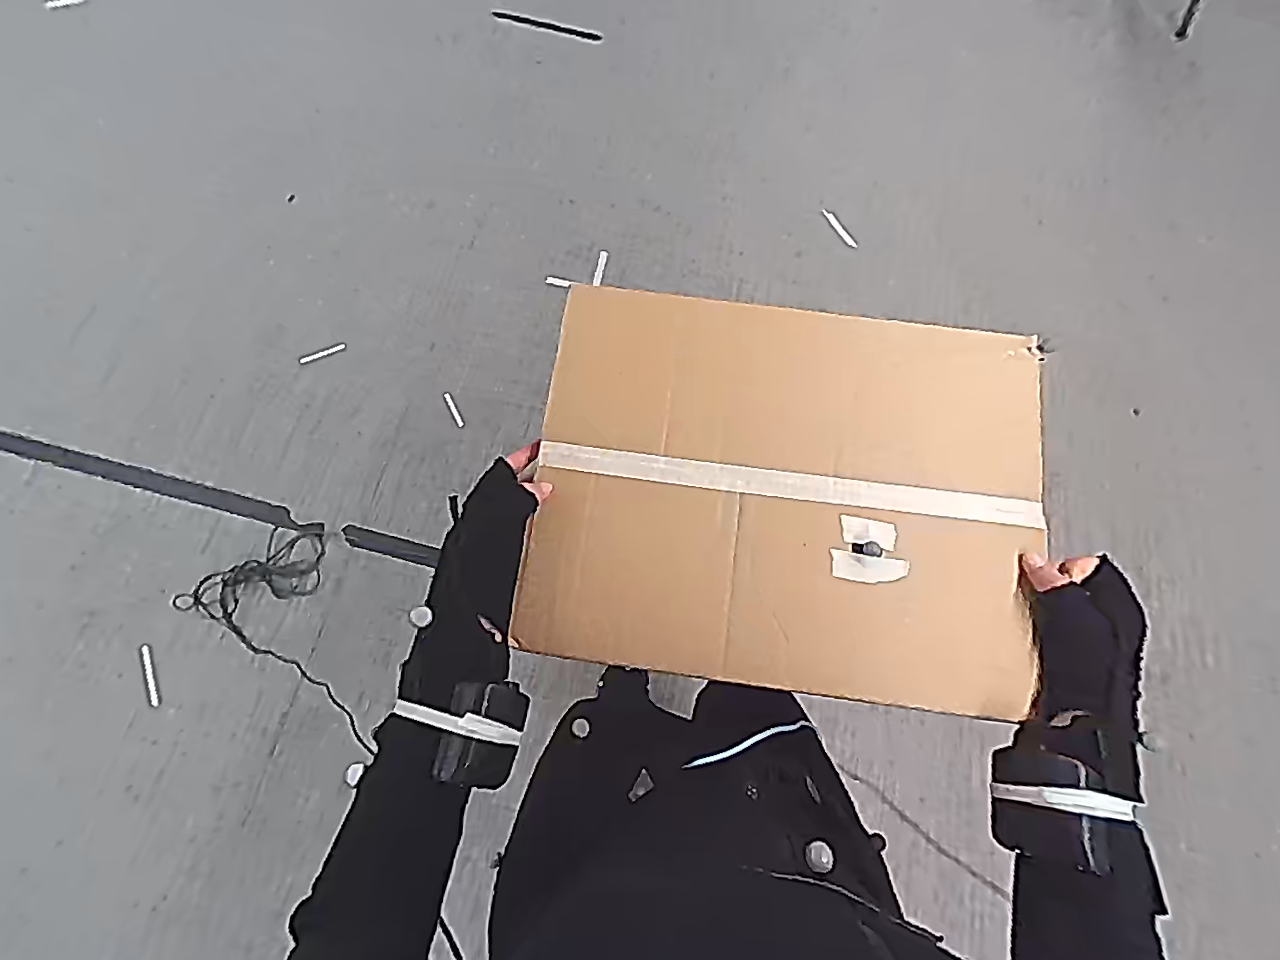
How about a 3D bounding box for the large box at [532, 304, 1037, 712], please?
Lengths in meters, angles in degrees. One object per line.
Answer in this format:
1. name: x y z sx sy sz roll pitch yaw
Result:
1. large box: 0.126 0.040 0.597 0.408 0.320 0.320 7 79 2
